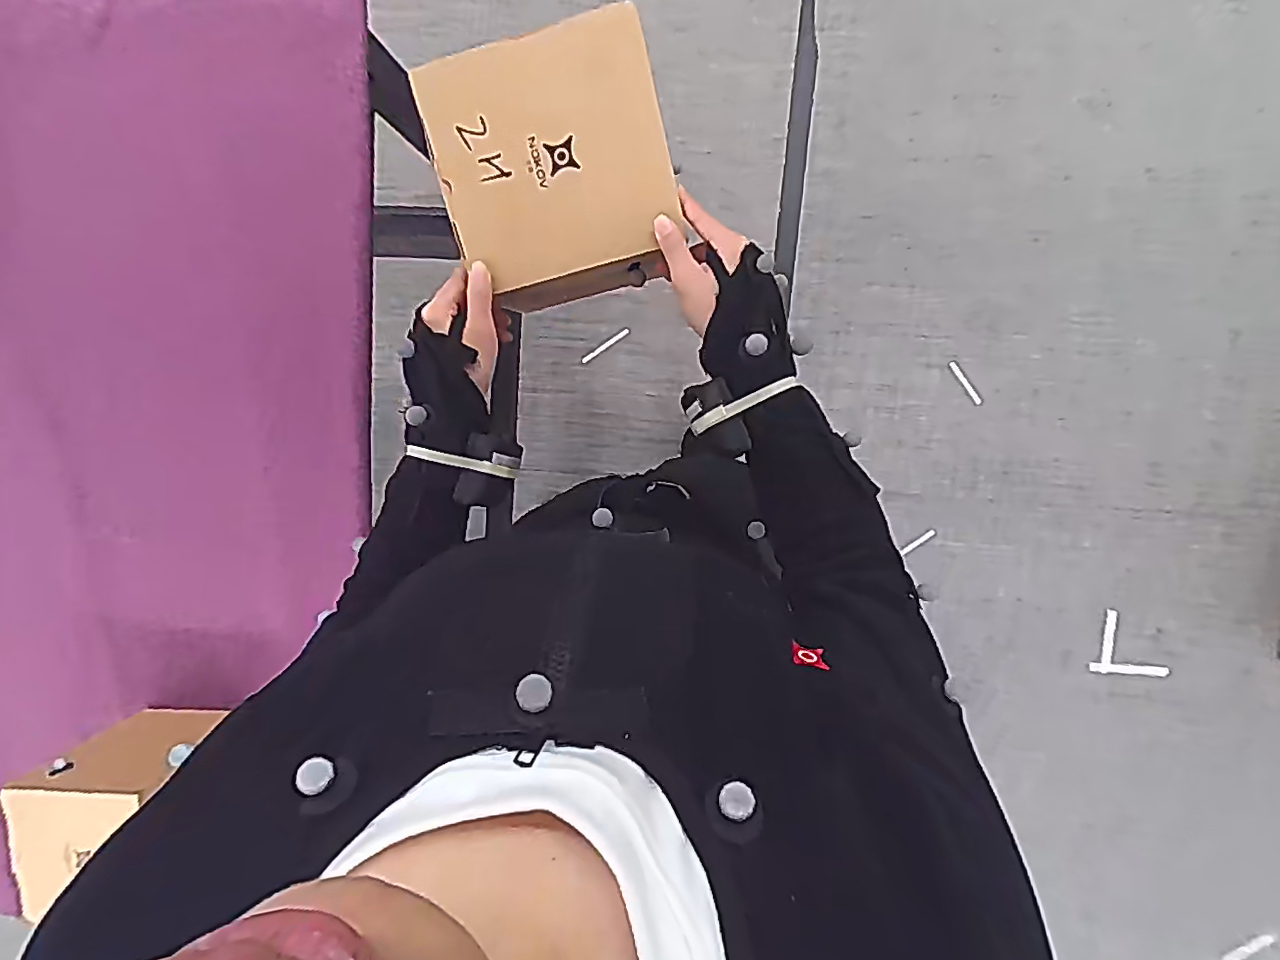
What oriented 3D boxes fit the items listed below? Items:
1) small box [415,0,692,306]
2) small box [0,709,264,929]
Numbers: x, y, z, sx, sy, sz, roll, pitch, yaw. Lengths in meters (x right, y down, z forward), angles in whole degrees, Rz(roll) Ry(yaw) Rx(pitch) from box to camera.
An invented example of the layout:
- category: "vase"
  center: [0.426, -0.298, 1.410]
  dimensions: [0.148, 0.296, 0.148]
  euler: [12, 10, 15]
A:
- category: "small box"
  center: [-0.060, -0.261, 0.478]
  dimensions: [0.179, 0.176, 0.168]
  euler: [-13, 102, 5]
- category: "small box"
  center: [-0.606, 0.405, 0.672]
  dimensions: [0.179, 0.176, 0.168]
  euler: [-2, 96, 7]
